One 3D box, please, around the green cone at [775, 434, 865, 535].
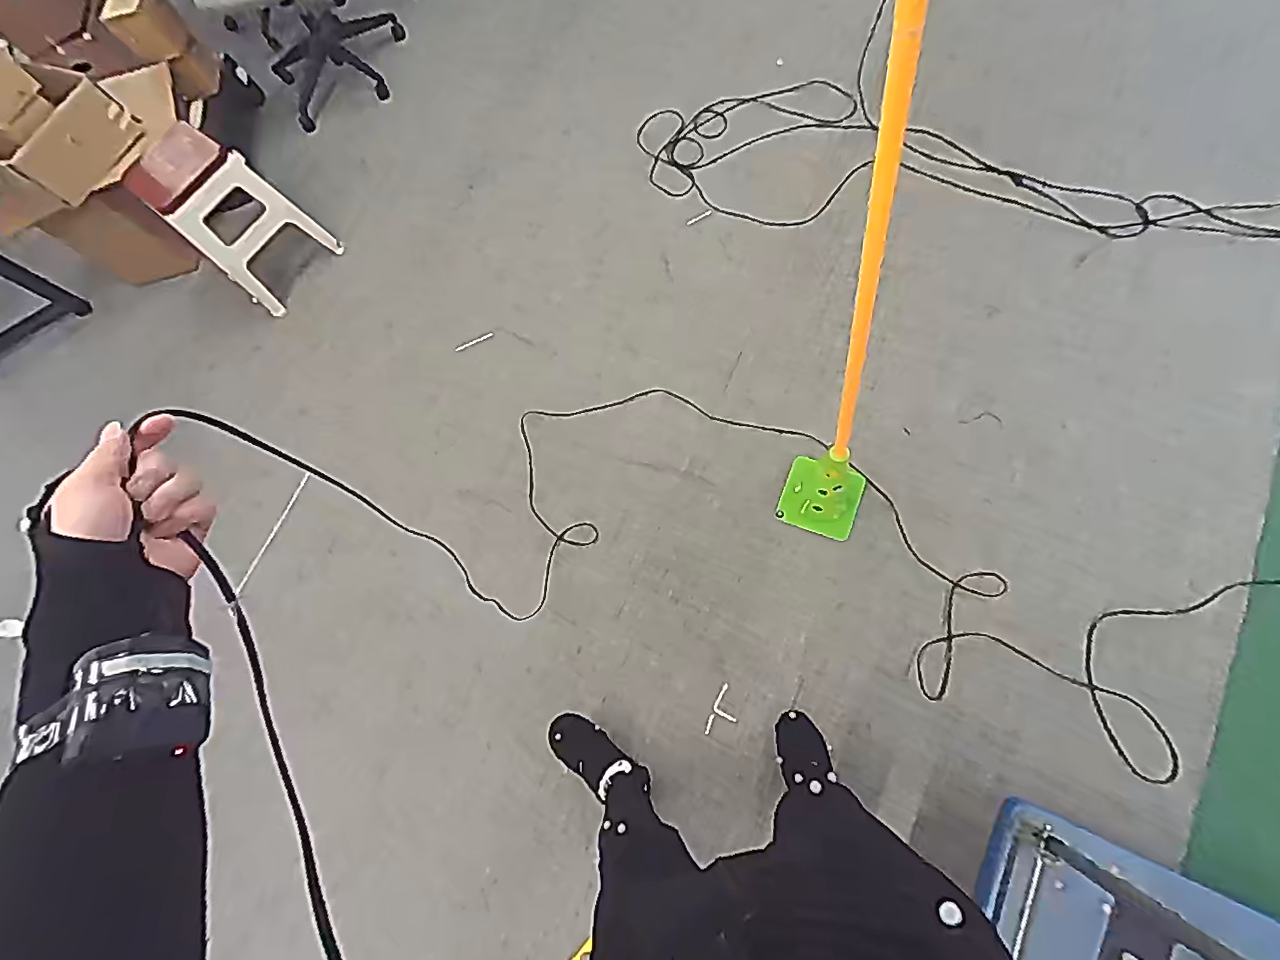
[{"bbox_3d":[0.463,-0.020,1.316,0.200,0.368,0.202,19,76,15],"label":"green cone"}]
